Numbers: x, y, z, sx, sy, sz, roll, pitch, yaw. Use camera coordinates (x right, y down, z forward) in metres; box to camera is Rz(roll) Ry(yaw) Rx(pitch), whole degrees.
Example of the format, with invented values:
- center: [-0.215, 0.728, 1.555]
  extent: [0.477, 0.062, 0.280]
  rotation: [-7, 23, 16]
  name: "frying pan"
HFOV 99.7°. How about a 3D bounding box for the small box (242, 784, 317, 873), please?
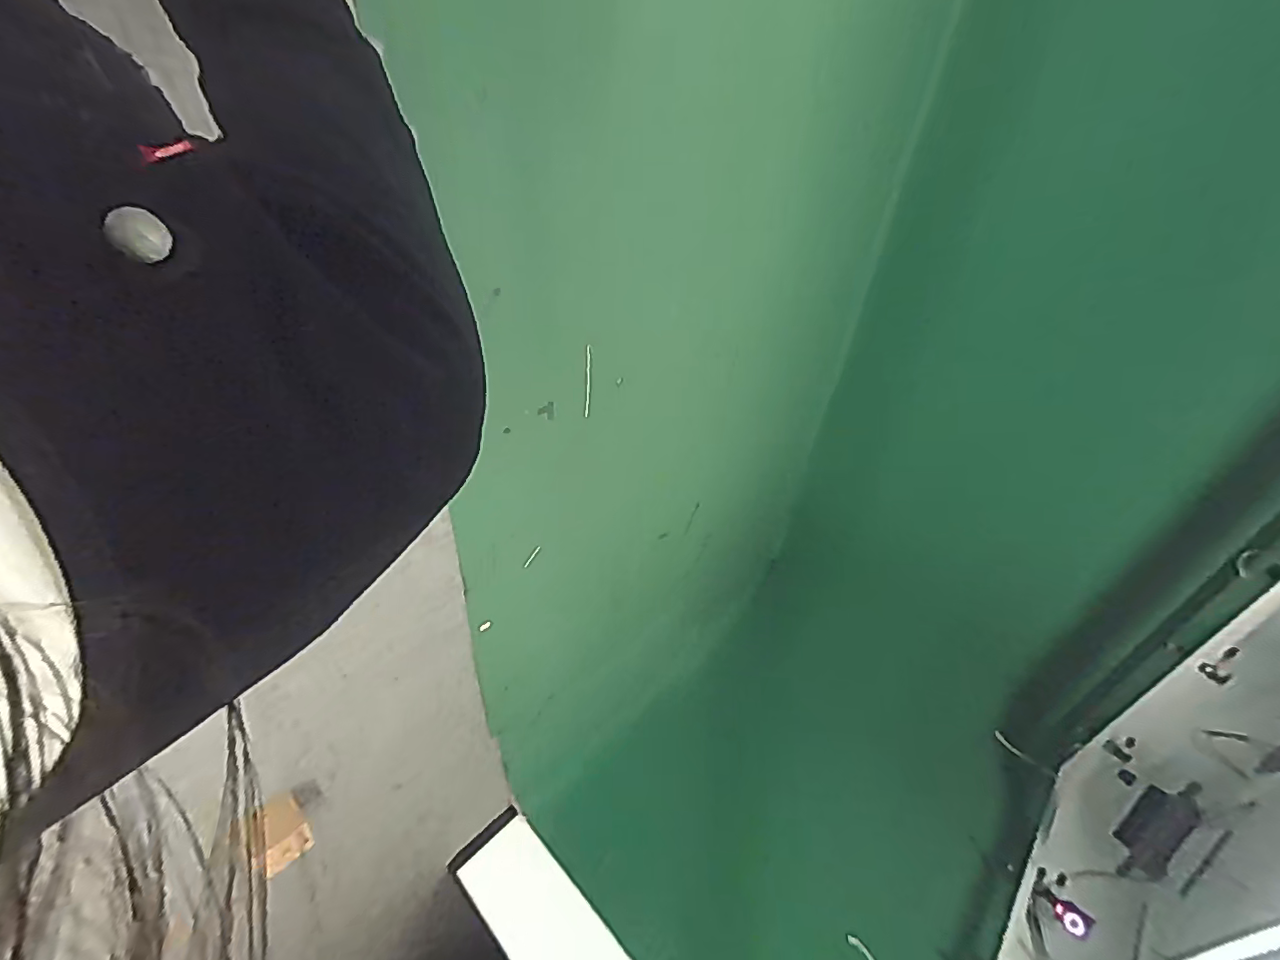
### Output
- center: [-1.315, 1.261, 1.964]
  extent: [0.179, 0.176, 0.168]
  rotation: [-26, 138, -40]
  name: "small box"
